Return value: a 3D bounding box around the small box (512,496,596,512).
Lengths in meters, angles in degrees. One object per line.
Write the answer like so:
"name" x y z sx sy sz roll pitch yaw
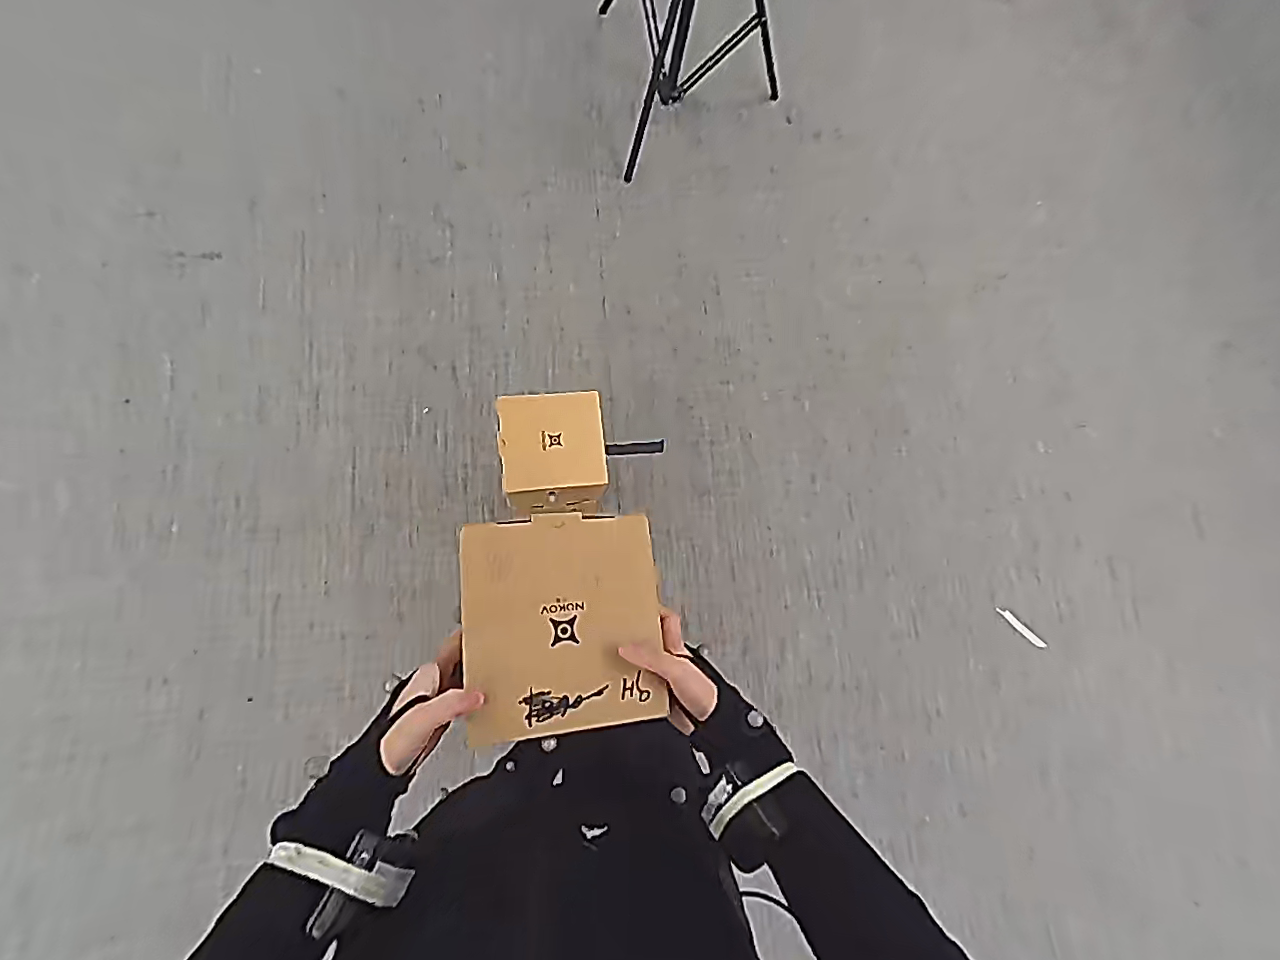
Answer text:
"small box" -0.185 -0.019 1.143 0.168 0.176 0.179 -5 79 -10

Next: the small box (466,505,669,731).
"small box" -0.082 0.133 0.531 0.168 0.176 0.179 -3 73 -15

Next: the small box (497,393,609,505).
"small box" -0.159 -0.051 0.985 0.179 0.176 0.168 -6 81 -9
